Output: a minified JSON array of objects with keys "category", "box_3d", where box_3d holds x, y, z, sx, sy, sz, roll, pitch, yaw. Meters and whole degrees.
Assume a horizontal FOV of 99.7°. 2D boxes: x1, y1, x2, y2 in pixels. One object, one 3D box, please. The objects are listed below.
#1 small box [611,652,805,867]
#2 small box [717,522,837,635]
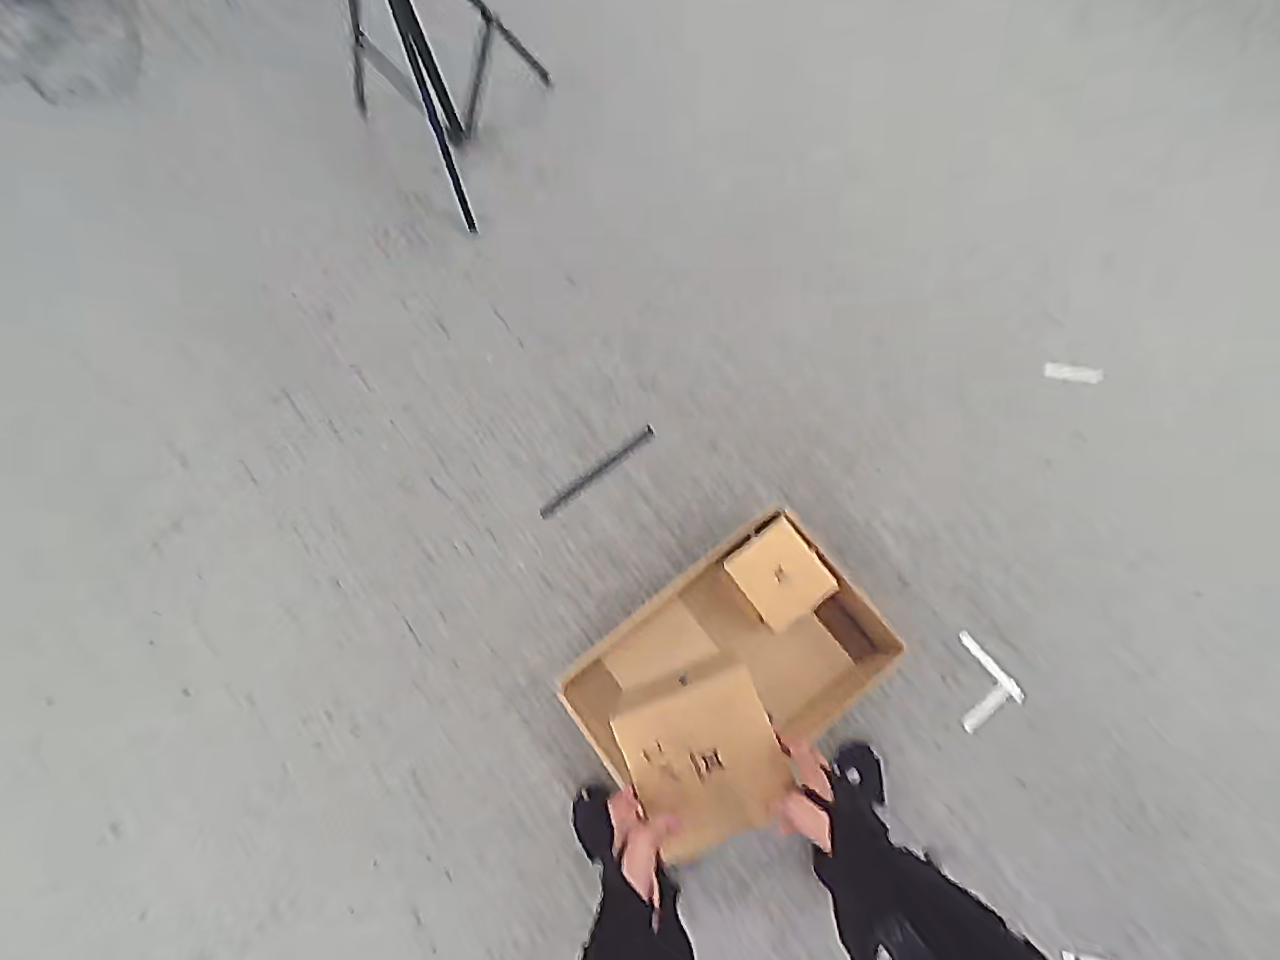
[{"category":"small box","box_3d":[0.082,0.336,0.690,0.179,0.176,0.168,-24,79,2]},{"category":"small box","box_3d":[0.287,0.218,1.183,0.168,0.176,0.179,-37,79,-6]}]
